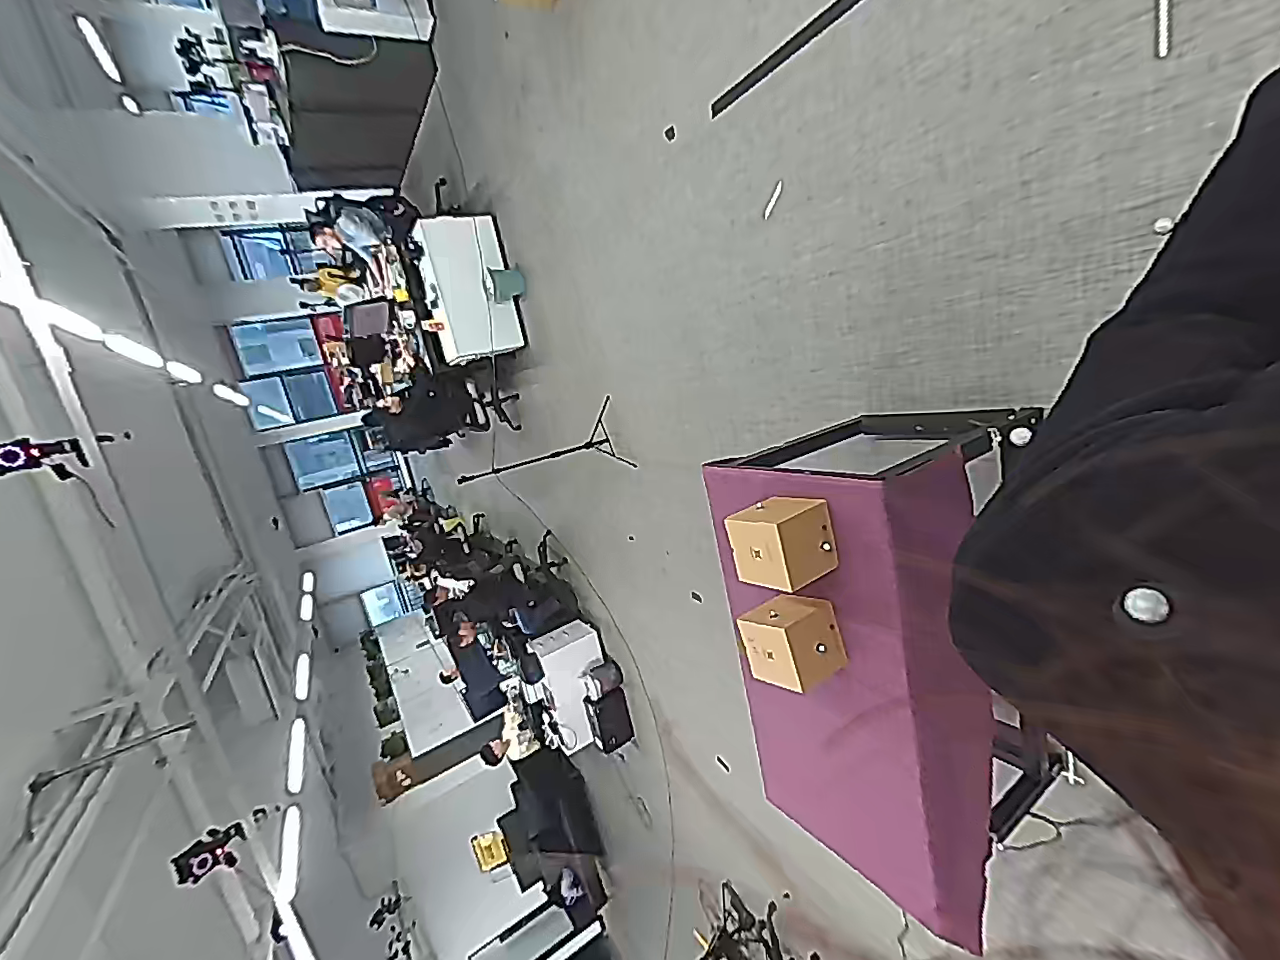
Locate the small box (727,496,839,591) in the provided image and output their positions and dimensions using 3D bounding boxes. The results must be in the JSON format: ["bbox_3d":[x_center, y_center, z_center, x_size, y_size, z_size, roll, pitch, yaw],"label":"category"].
[{"bbox_3d":[0.341,0.143,1.288,0.179,0.176,0.168,2,110,60],"label":"small box"}]

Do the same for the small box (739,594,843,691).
[{"bbox_3d":[0.387,0.400,1.365,0.179,0.176,0.168,-10,98,62],"label":"small box"}]
